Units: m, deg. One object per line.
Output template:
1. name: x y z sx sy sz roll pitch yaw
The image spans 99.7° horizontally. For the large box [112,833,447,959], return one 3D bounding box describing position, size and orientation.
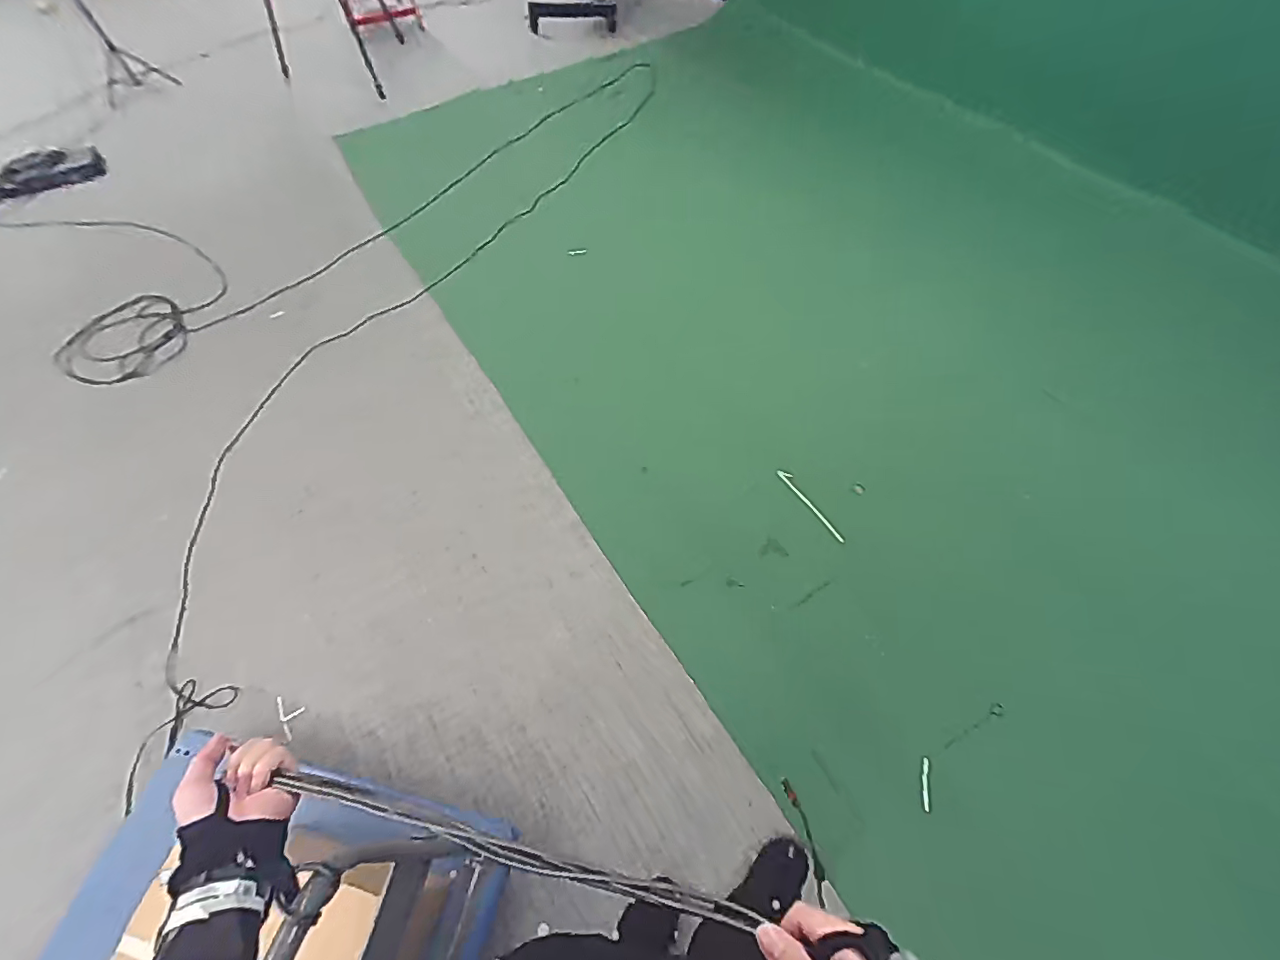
1. large box: -0.628 0.857 0.957 0.408 0.320 0.320 10 58 10
